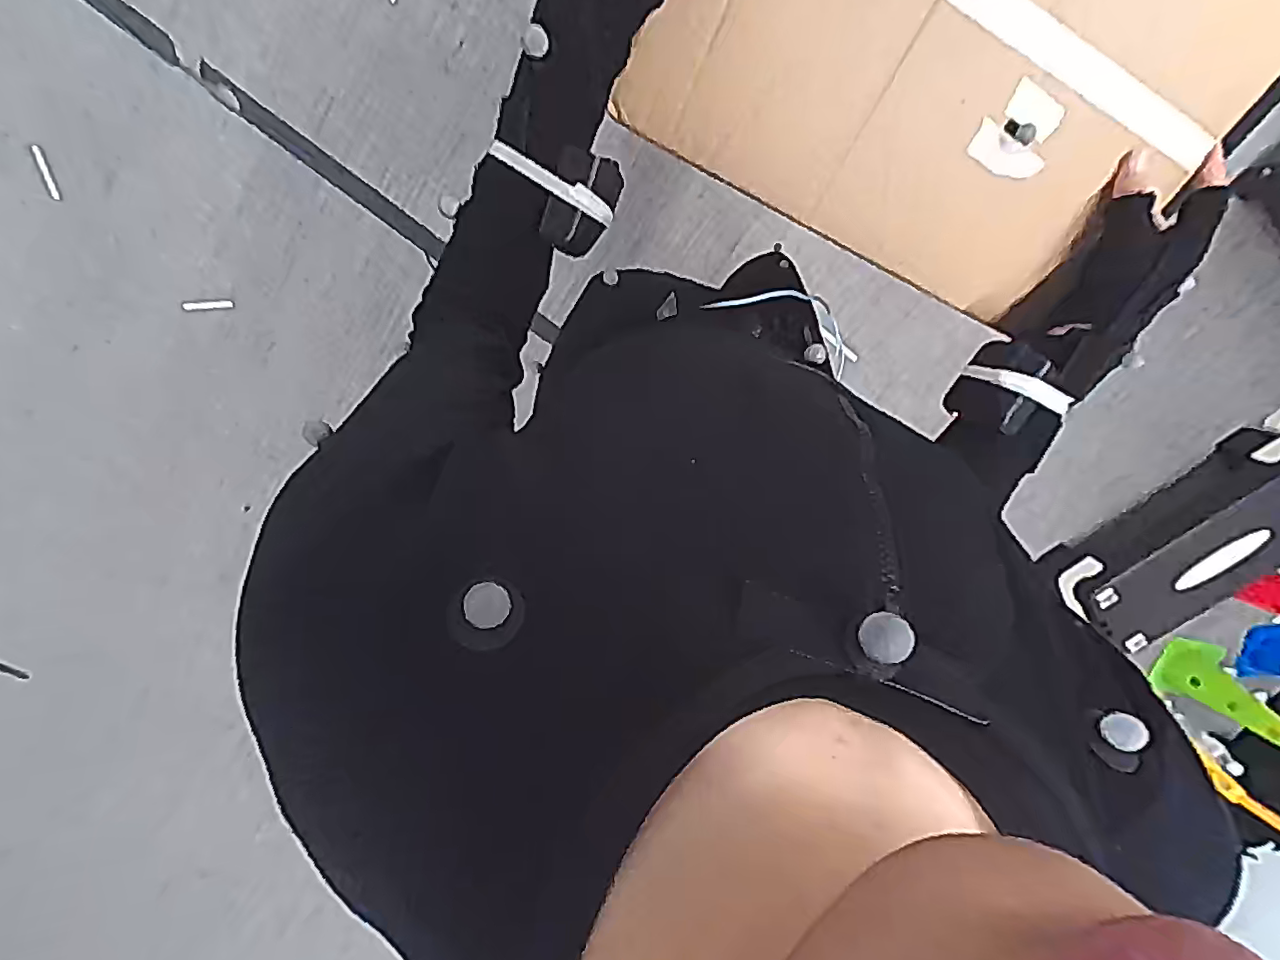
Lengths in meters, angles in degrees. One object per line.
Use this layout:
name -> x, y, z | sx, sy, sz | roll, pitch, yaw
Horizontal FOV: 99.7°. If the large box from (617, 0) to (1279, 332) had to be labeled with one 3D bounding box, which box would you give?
large box -> 0.217, -0.395, 0.482 | 0.408, 0.320, 0.320 | 20, 123, -16
